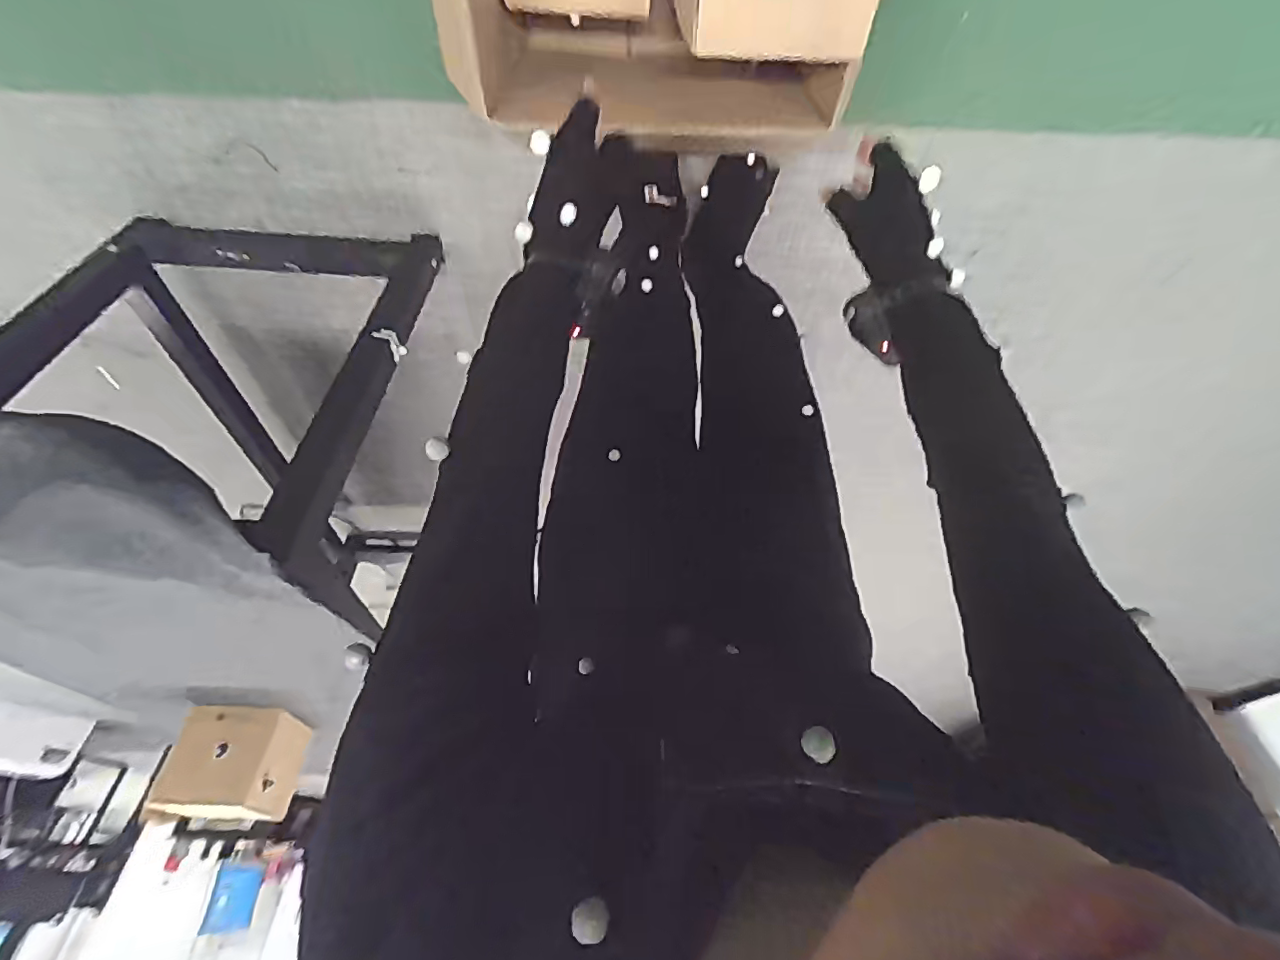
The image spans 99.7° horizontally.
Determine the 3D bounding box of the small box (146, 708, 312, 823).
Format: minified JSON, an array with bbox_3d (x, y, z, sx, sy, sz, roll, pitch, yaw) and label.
[{"bbox_3d":[-0.776,0.552,1.045,0.168,0.176,0.179,4,141,-3],"label":"small box"}]
